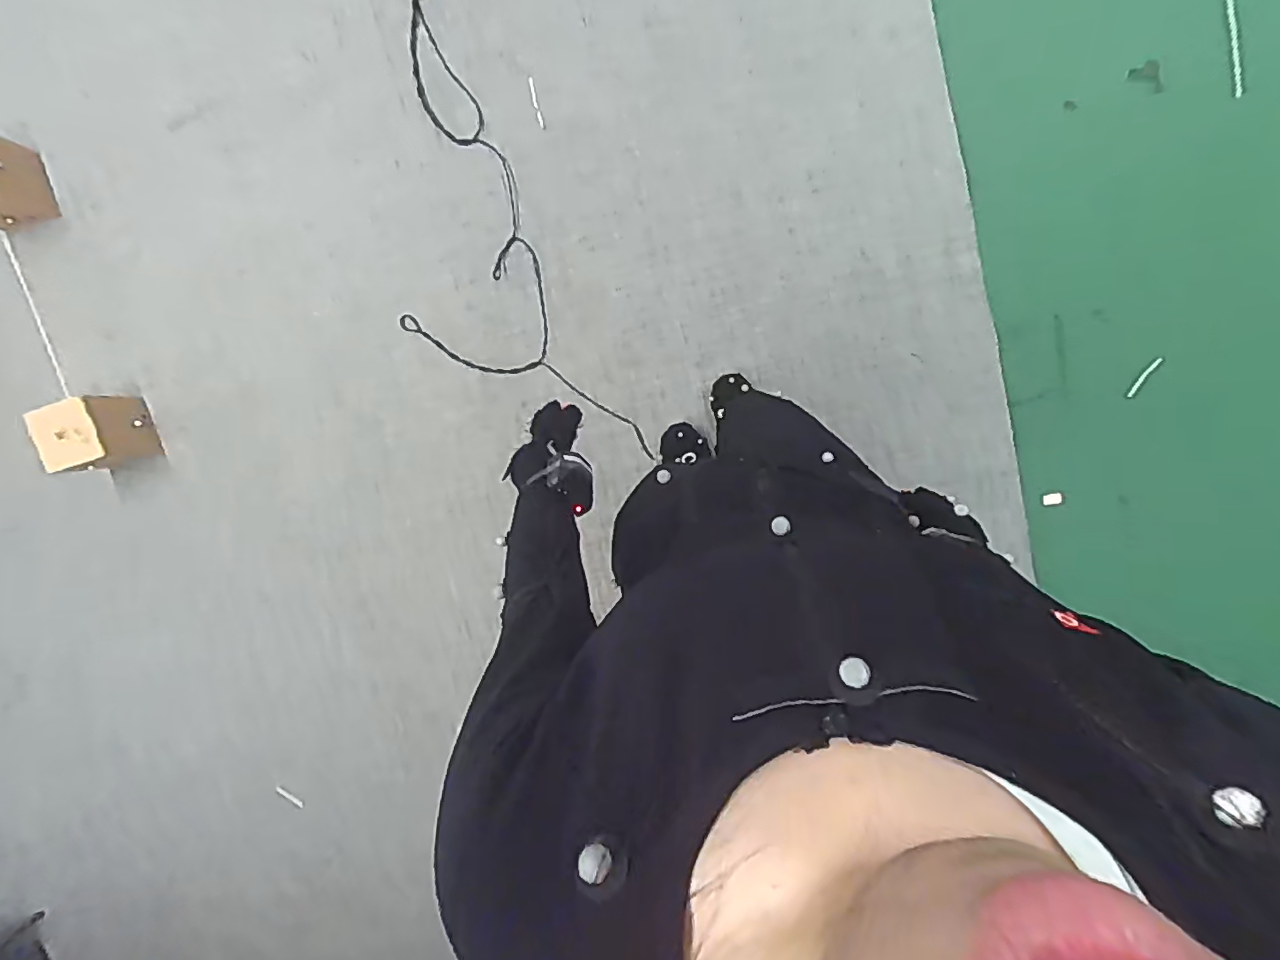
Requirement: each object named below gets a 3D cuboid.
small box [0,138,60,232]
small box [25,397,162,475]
[{"bbox_3d":[-1.677,-0.769,1.388,0.168,0.176,0.179,-16,97,4],"label":"small box"},{"bbox_3d":[-1.471,-0.120,1.467,0.179,0.176,0.168,-16,97,5],"label":"small box"}]
